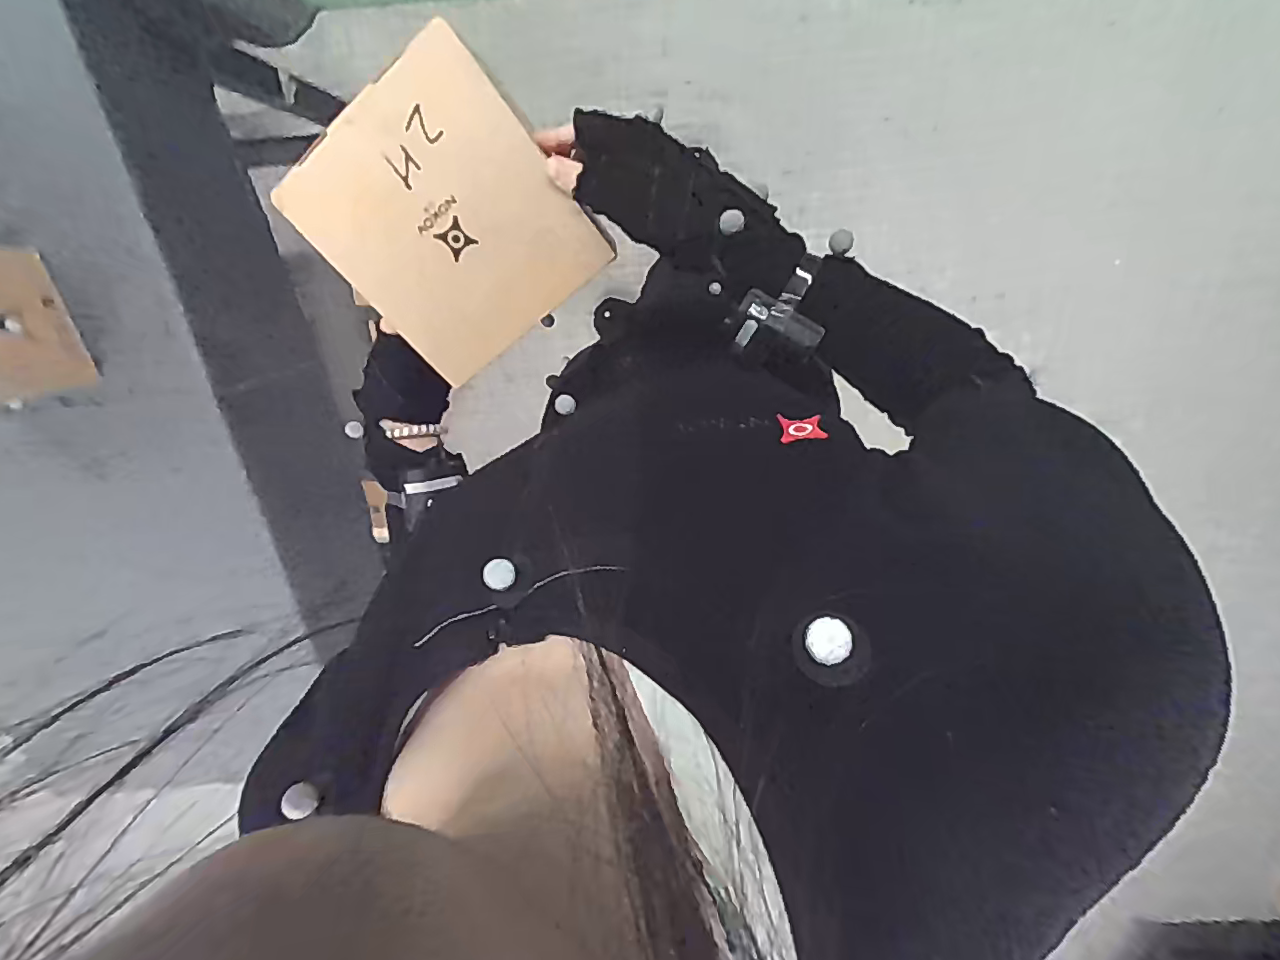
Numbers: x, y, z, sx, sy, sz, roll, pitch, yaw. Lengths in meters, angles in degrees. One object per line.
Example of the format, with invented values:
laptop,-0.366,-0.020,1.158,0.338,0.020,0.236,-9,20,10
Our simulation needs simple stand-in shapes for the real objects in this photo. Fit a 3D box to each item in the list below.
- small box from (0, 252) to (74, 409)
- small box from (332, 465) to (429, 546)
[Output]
small box,-0.800,-0.155,0.596,0.179,0.176,0.168,-6,112,2
small box,-0.698,0.064,1.469,0.179,0.176,0.168,3,112,-1
